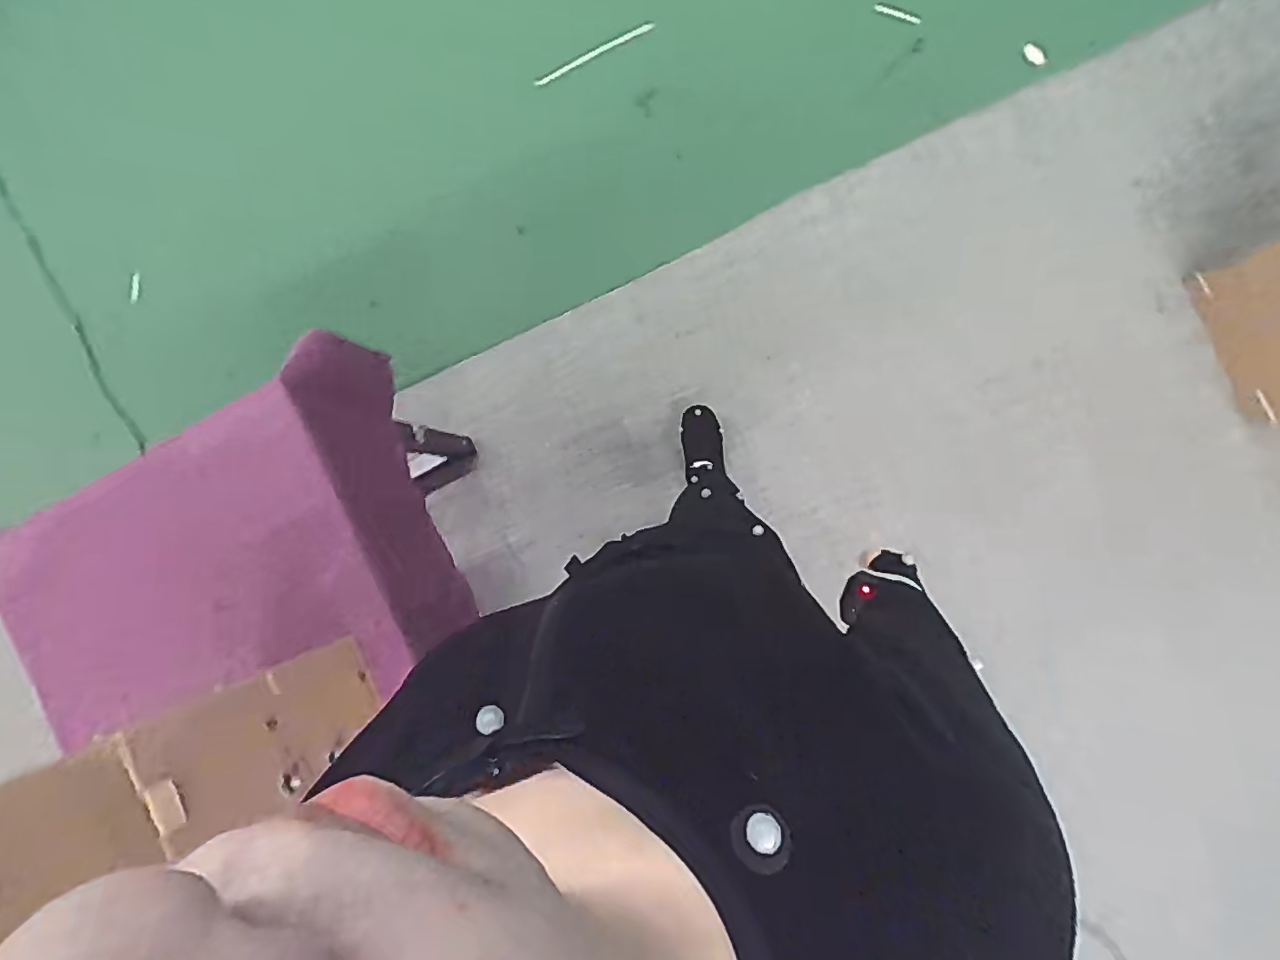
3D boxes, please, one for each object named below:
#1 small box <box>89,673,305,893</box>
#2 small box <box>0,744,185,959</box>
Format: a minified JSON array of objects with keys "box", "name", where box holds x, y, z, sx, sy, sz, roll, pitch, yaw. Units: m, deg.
[{"box":[-0.504,0.337,0.581,0.179,0.176,0.168,-29,86,6],"name":"small box"},{"box":[-0.523,0.338,0.419,0.168,0.176,0.179,-30,87,5],"name":"small box"}]
